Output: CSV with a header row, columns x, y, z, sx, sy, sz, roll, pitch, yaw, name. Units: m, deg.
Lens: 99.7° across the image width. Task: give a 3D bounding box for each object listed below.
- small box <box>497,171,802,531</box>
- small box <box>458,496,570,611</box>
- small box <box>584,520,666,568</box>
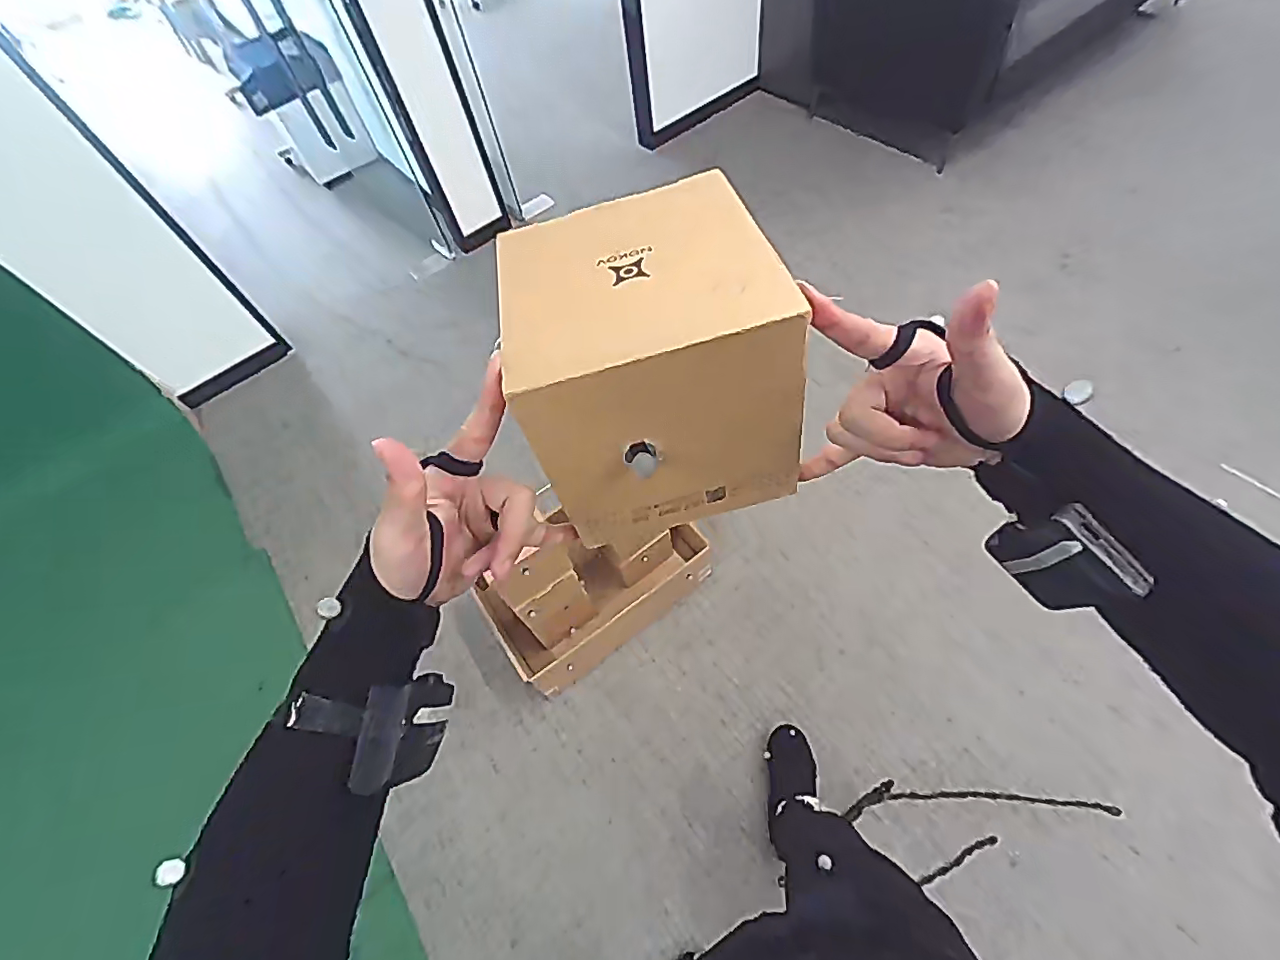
x,y,z,sx,sy,sz,roll,pitch,yaw,name
0.007,-0.082,0.390,0.168,0.176,0.179,-15,50,2,small box
-0.287,0.176,1.259,0.179,0.176,0.168,-33,58,-14,small box
-0.044,0.109,1.465,0.179,0.176,0.168,-36,61,-14,small box
